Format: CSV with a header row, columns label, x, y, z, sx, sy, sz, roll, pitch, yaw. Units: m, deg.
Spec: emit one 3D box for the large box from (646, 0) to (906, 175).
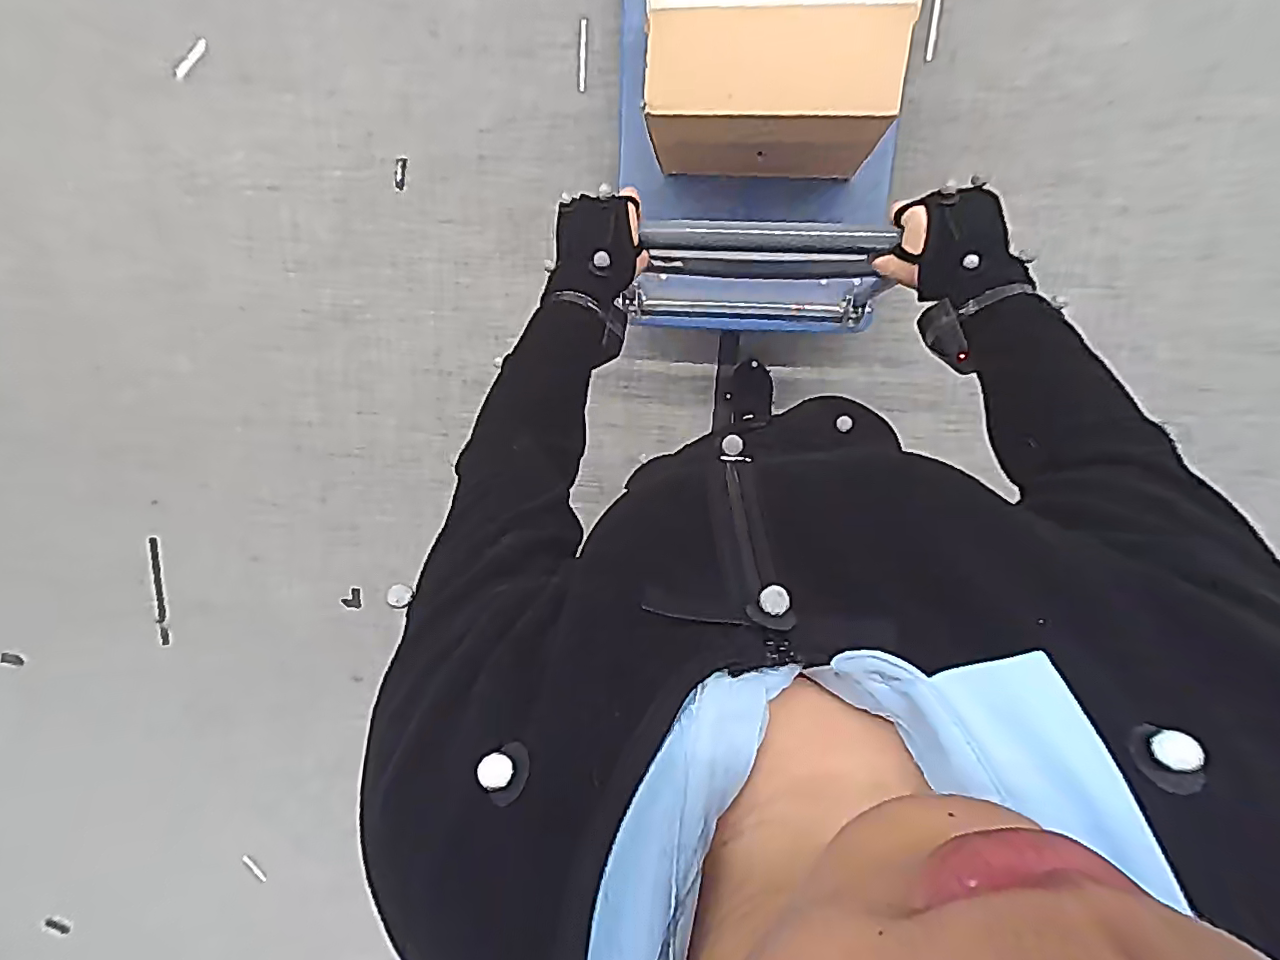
label,x,y,z,sx,sy,sz,roll,pitch,yaw
large box,0.237,-0.776,0.996,0.408,0.320,0.320,5,103,8
